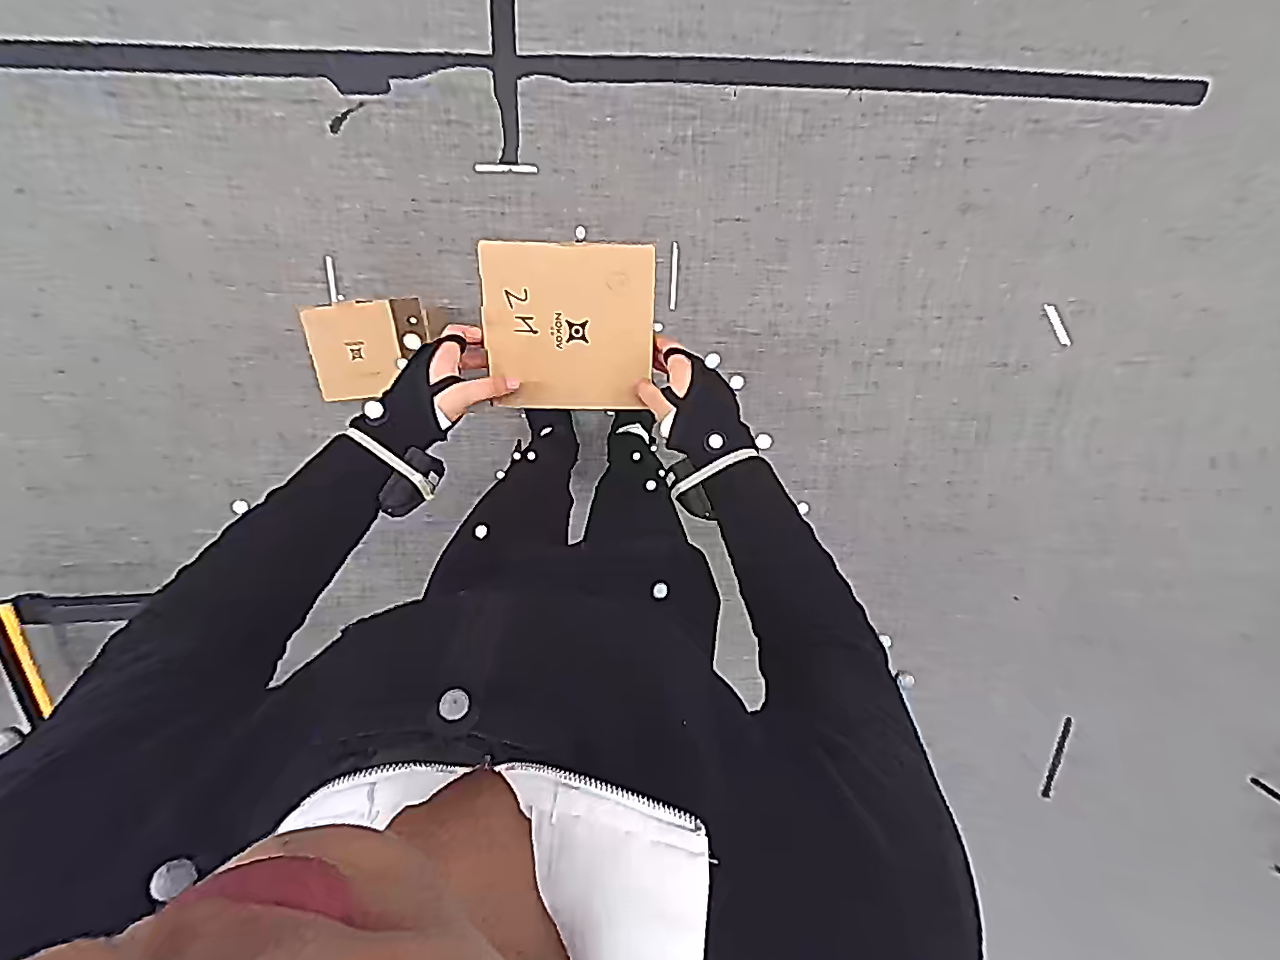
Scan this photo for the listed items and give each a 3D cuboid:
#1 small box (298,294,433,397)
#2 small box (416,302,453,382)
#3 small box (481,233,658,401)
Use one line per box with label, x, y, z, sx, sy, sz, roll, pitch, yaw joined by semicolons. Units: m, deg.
small box;-0.531;-0.272;1.073;0.168;0.176;0.179;-6;111;-1
small box;-0.543;-0.316;1.230;0.179;0.176;0.168;-3;110;-4
small box;-0.075;-0.195;0.631;0.179;0.176;0.168;1;113;-2
